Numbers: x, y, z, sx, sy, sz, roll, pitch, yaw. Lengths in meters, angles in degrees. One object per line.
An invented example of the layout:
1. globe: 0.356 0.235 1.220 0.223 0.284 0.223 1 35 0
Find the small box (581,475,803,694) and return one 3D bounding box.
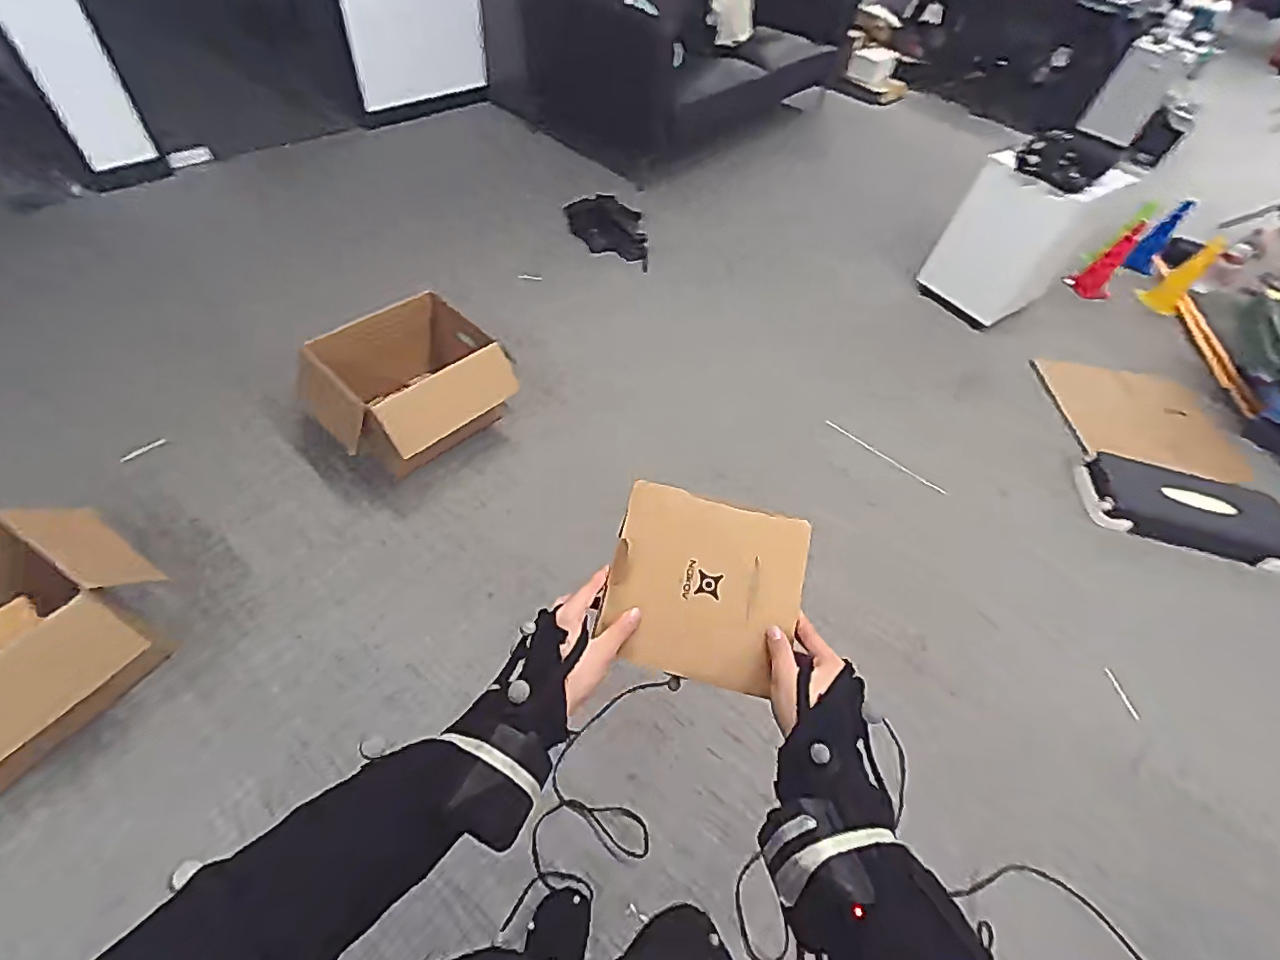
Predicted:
1. small box: 0.047 0.112 0.561 0.179 0.176 0.168 13 73 1
